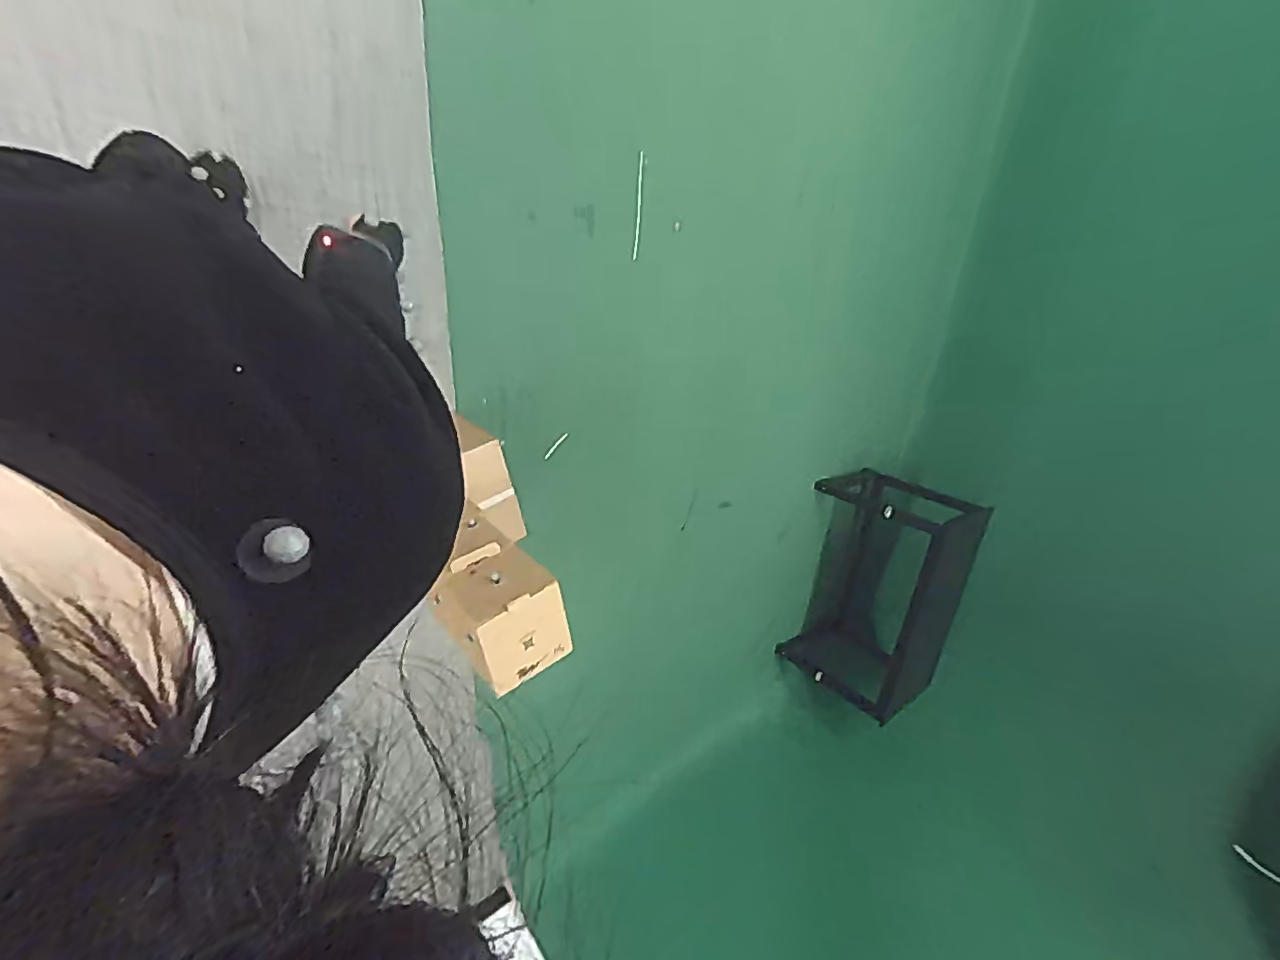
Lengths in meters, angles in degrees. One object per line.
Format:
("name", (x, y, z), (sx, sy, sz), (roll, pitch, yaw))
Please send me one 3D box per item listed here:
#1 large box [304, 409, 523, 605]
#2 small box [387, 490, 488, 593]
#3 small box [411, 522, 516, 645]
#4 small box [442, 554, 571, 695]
("large box", (-0.593, 0.050, 1.446), (0.408, 0.320, 0.320), (-29, 128, -30))
("small box", (-0.459, 0.144, 1.262), (0.179, 0.176, 0.168), (-25, 124, -31))
("small box", (-0.363, 0.206, 1.144), (0.168, 0.176, 0.179), (-23, 123, -32))
("small box", (-0.256, 0.261, 1.032), (0.168, 0.176, 0.179), (-25, 123, -31))
